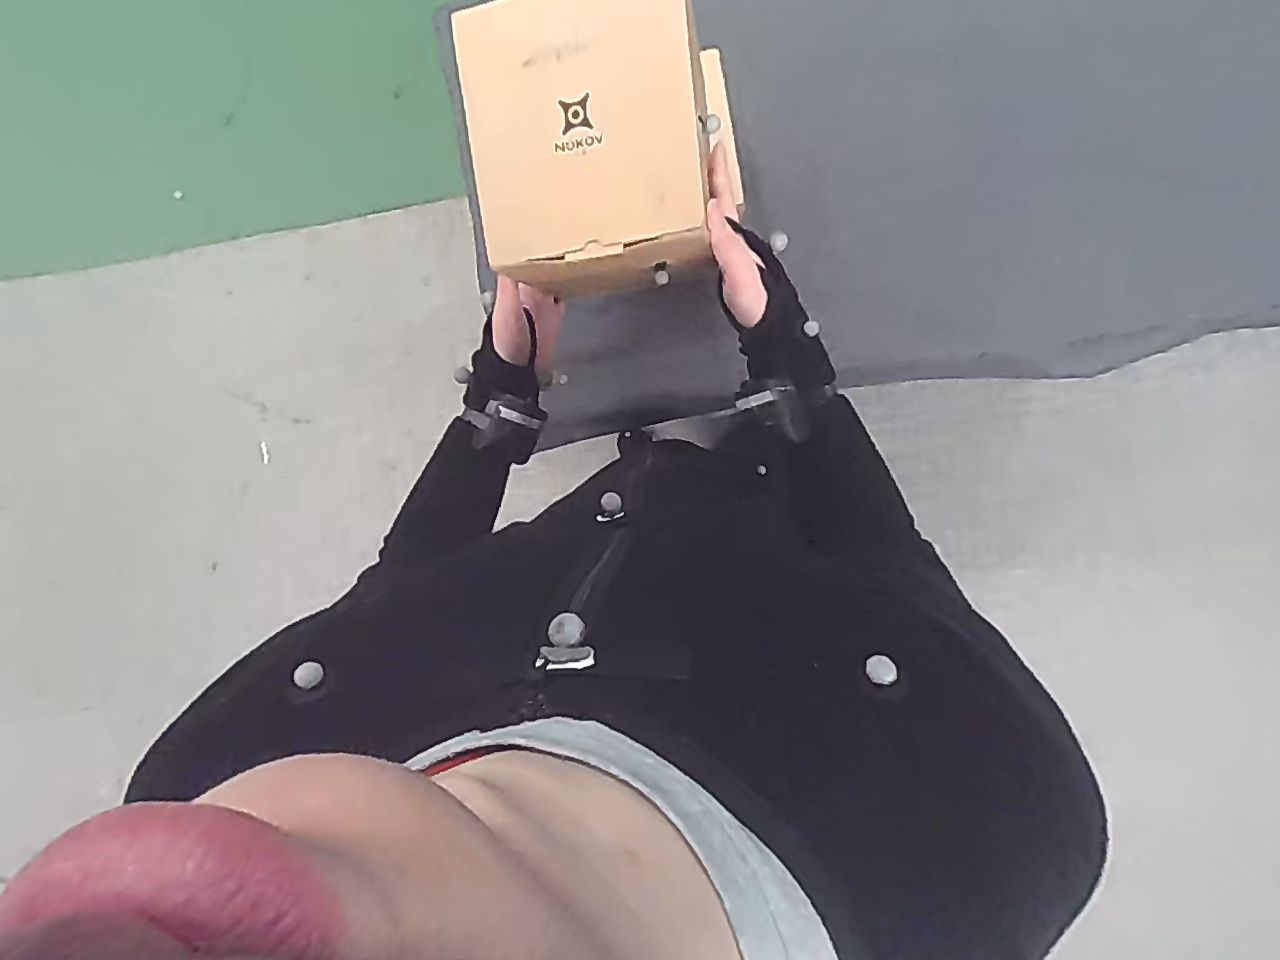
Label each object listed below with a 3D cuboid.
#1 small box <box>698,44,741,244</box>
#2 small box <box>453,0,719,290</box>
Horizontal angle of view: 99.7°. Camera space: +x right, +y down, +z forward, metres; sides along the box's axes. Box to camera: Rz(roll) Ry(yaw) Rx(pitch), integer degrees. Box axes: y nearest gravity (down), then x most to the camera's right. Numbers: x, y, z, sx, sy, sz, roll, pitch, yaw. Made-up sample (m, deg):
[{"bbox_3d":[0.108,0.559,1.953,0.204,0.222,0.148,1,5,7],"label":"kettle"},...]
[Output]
[{"bbox_3d":[0.028,-0.395,0.692,0.168,0.176,0.179,-11,97,4],"label":"small box"},{"bbox_3d":[-0.026,-0.264,0.449,0.168,0.176,0.179,-5,99,12],"label":"small box"}]
